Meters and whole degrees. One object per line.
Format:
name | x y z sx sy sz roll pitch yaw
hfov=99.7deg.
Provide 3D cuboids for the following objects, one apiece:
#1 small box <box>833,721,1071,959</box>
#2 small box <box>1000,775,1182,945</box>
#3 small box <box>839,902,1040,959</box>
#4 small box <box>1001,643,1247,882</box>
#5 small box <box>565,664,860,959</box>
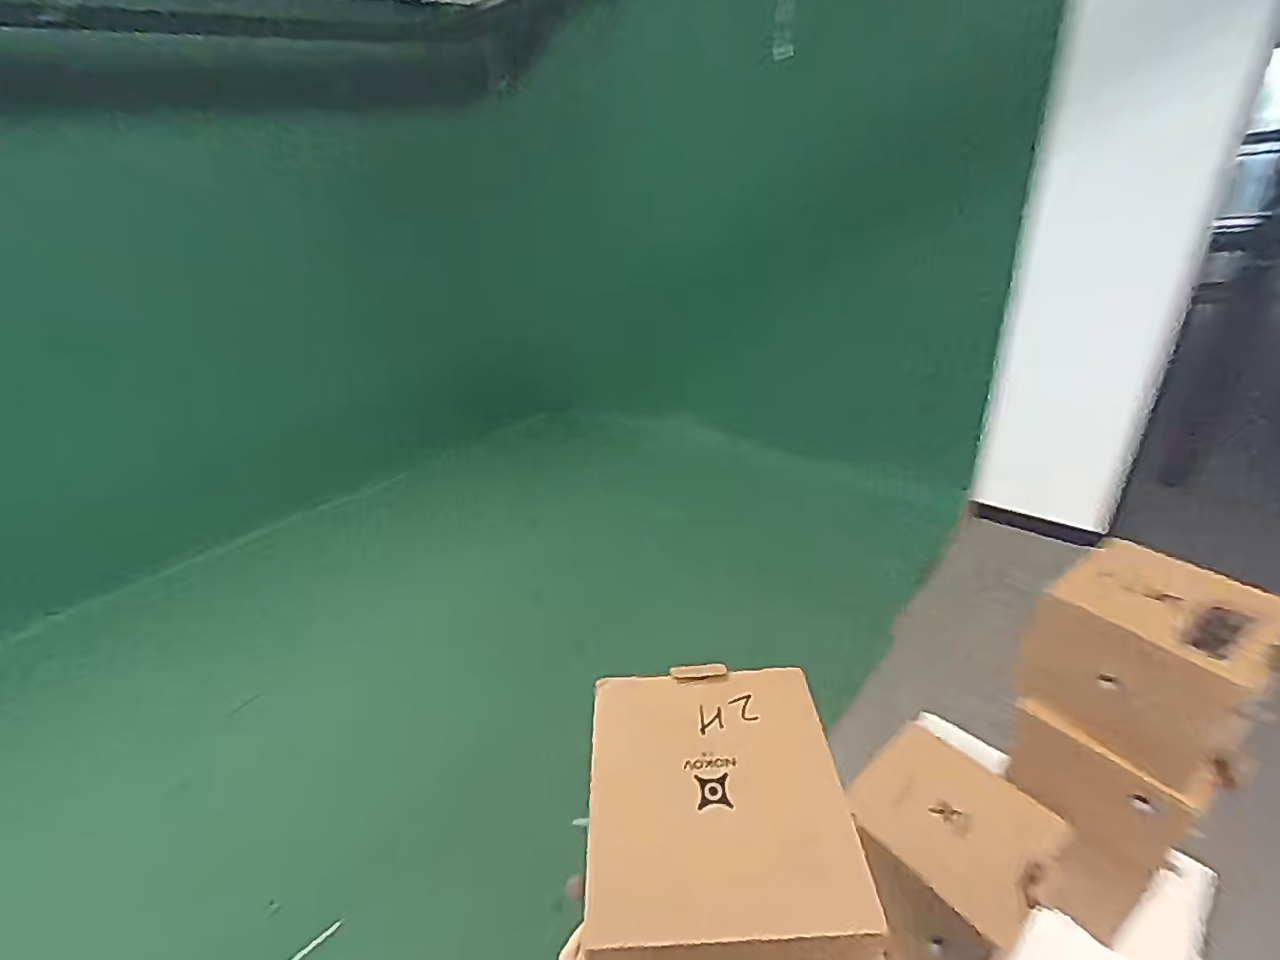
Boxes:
small box | 0.344 0.432 0.625 0.168 0.176 0.179 -24 32 -29
small box | 0.631 0.496 0.774 0.168 0.176 0.179 -24 33 -27
small box | 0.367 0.573 0.704 0.168 0.176 0.179 -25 34 -28
small box | 0.605 0.356 0.697 0.168 0.176 0.179 -25 34 -27
small box | 0.043 0.266 0.404 0.168 0.176 0.179 -3 31 -1
